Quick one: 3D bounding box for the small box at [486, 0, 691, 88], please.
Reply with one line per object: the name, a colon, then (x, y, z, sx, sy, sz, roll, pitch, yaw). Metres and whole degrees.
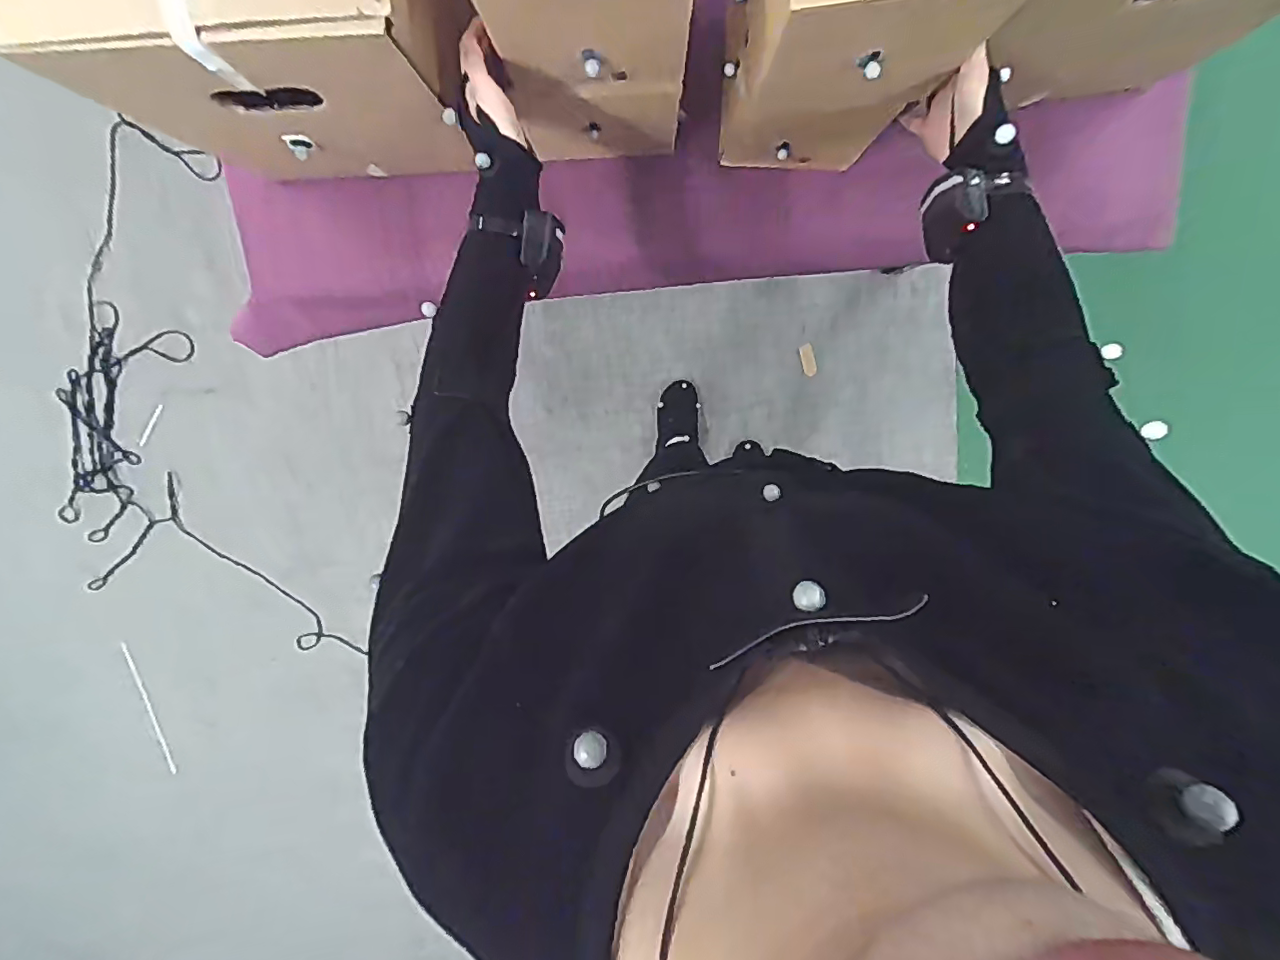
small box: (-0.044, -0.452, 0.428, 0.168, 0.176, 0.179, -2, 101, 2)

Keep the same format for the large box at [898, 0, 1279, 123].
large box: (0.443, -0.623, 0.483, 0.320, 0.320, 0.408, -7, 102, 5)
